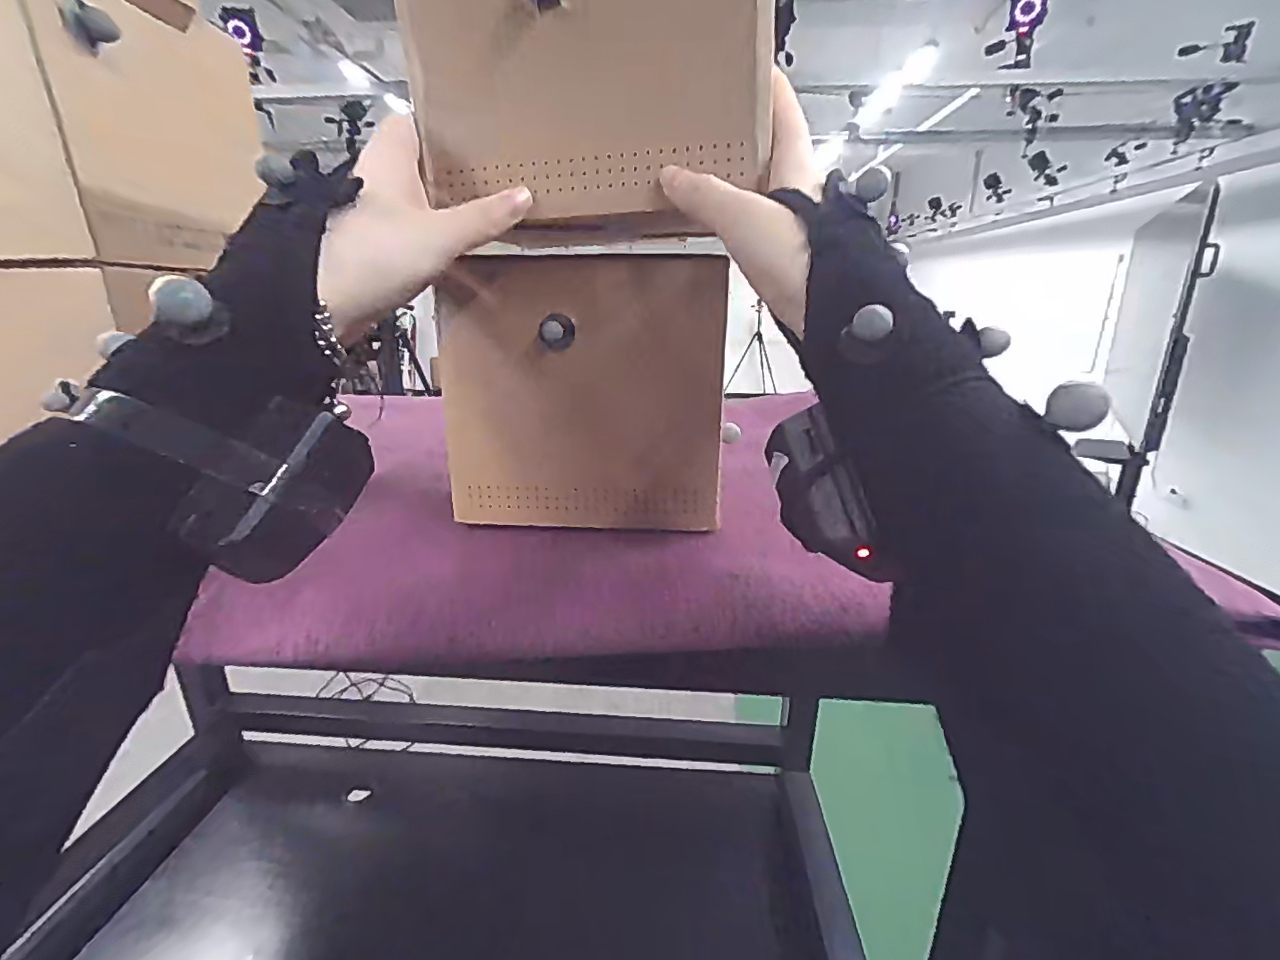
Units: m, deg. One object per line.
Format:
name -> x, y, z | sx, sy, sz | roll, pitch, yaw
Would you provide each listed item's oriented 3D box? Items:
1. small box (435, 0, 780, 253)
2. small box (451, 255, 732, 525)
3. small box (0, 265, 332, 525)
small box -> -0.011, -0.235, 0.330 | 0.179, 0.176, 0.168 | -1, 19, 7
small box -> -0.024, -0.069, 0.418 | 0.179, 0.176, 0.168 | 2, 15, 5
small box -> -0.373, -0.069, 0.419 | 0.179, 0.176, 0.168 | 1, 17, 3
